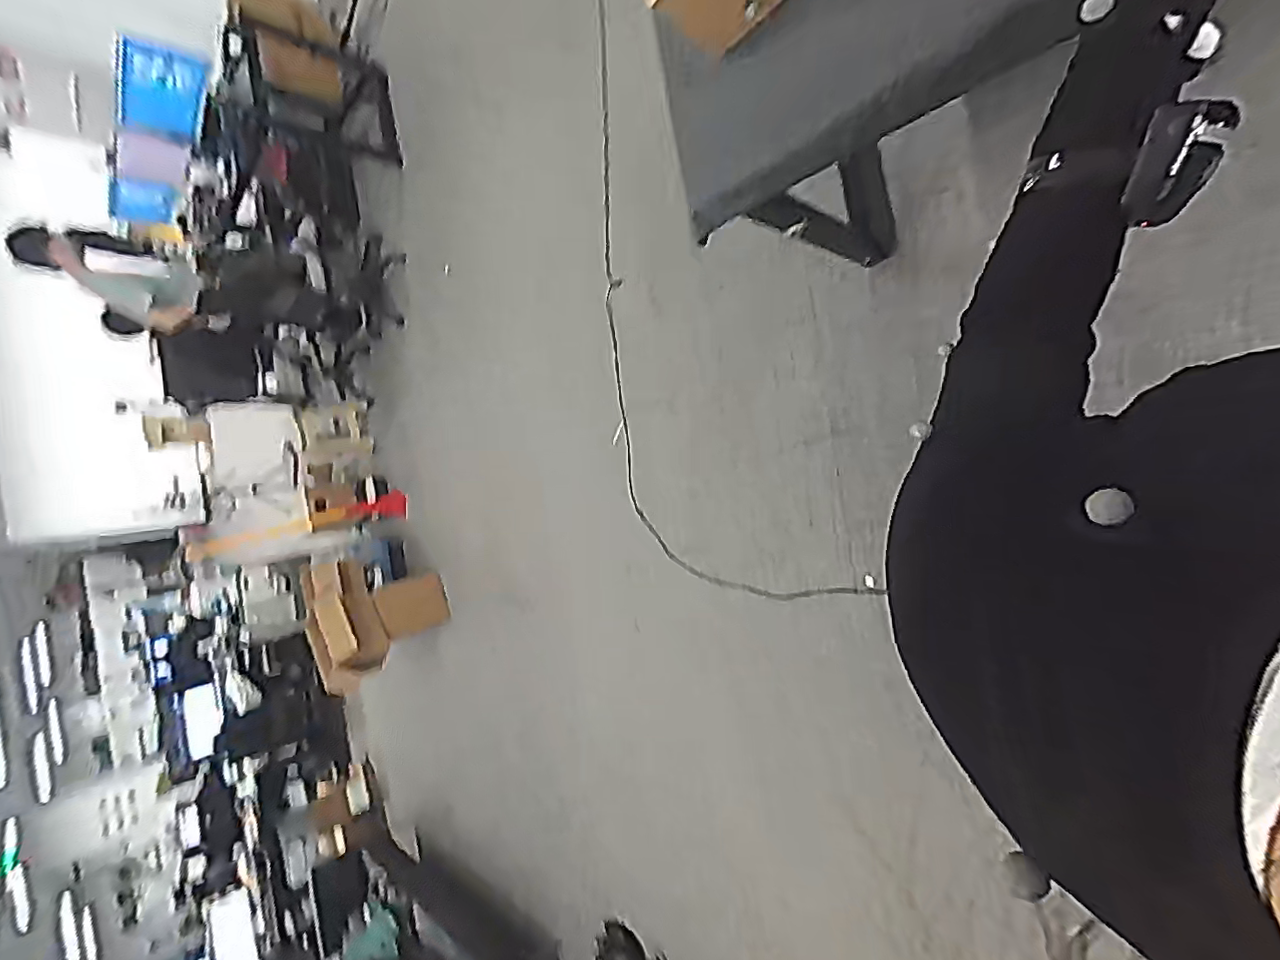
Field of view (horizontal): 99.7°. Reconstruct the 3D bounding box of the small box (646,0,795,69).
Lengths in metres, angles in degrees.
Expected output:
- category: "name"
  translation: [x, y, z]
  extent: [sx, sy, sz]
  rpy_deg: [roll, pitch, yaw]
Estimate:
- category: "small box"
  translation: [0.114, -0.750, 0.770]
  extent: [0.179, 0.176, 0.168]
  rpy_deg: [-16, 85, 44]
